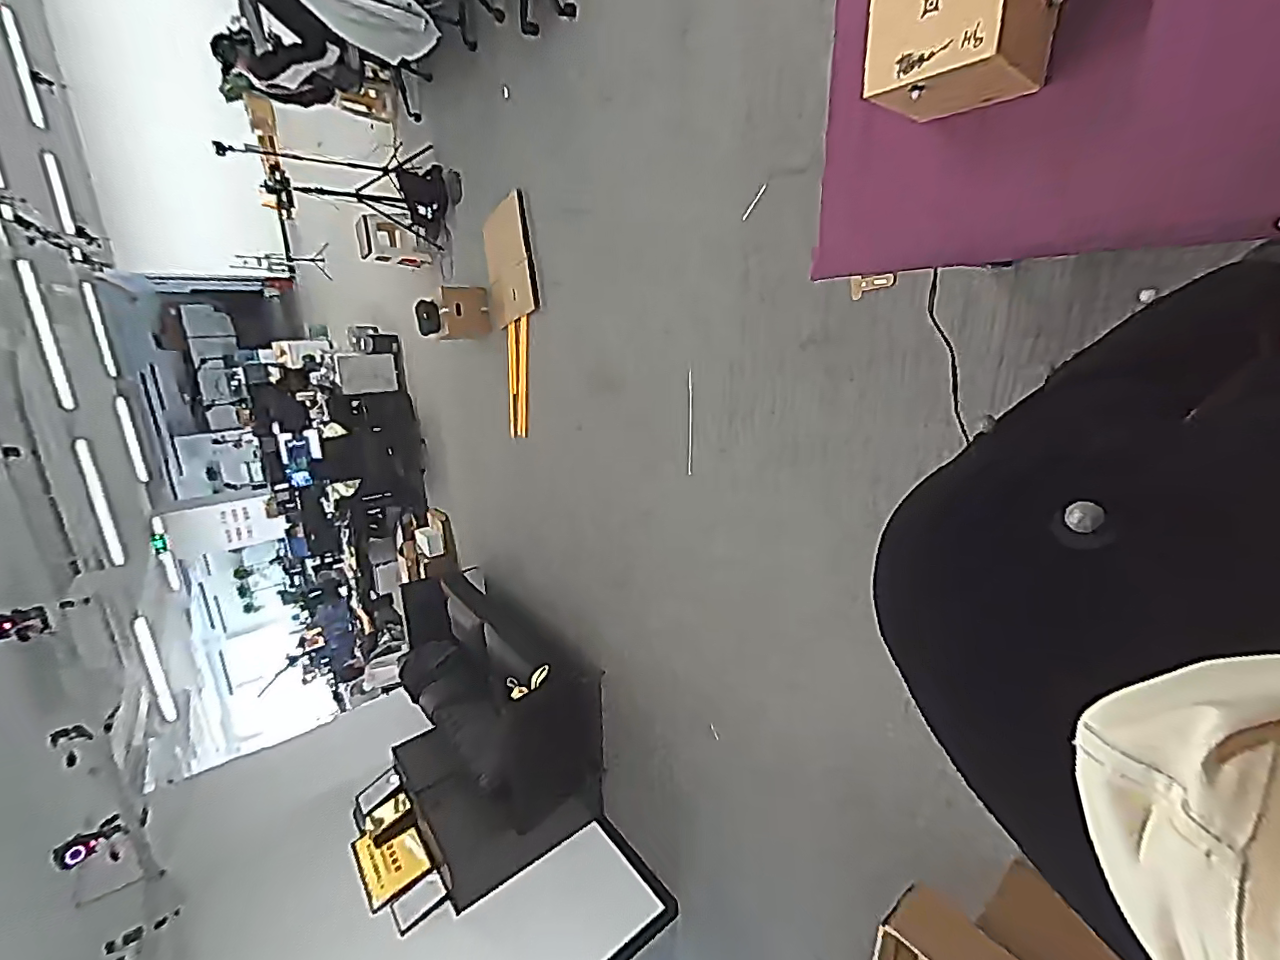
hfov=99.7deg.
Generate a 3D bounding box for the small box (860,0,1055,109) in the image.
[{"bbox_3d":[0.414,-0.616,0.697,0.168,0.176,0.179,21,117,49],"label":"small box"}]
